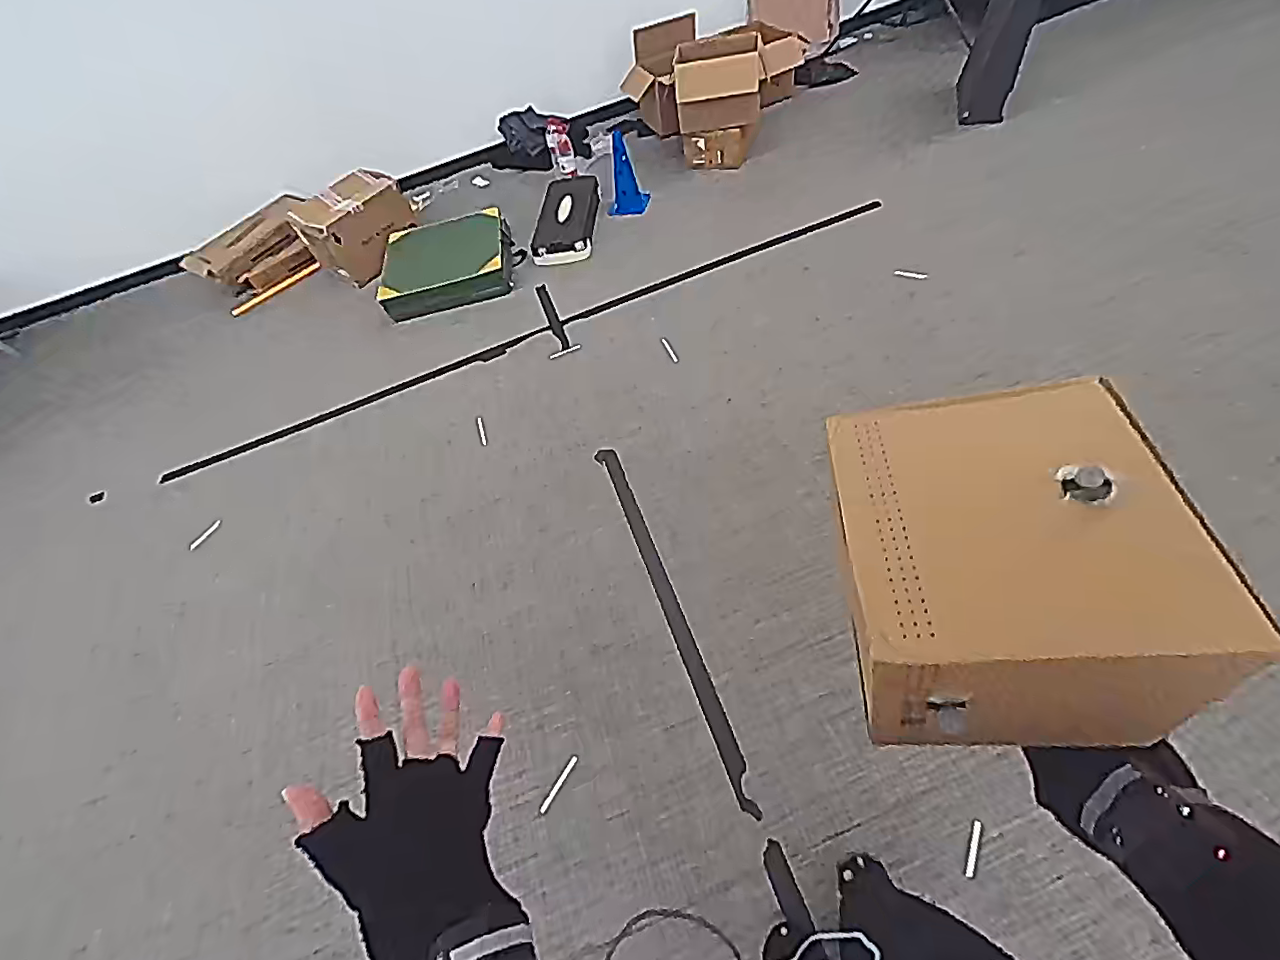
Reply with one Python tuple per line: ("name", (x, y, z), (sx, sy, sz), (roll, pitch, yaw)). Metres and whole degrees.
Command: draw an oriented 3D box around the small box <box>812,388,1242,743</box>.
("small box", (0.218, 0.067, 0.370), (0.176, 0.168, 0.179), (-9, 49, 18))
